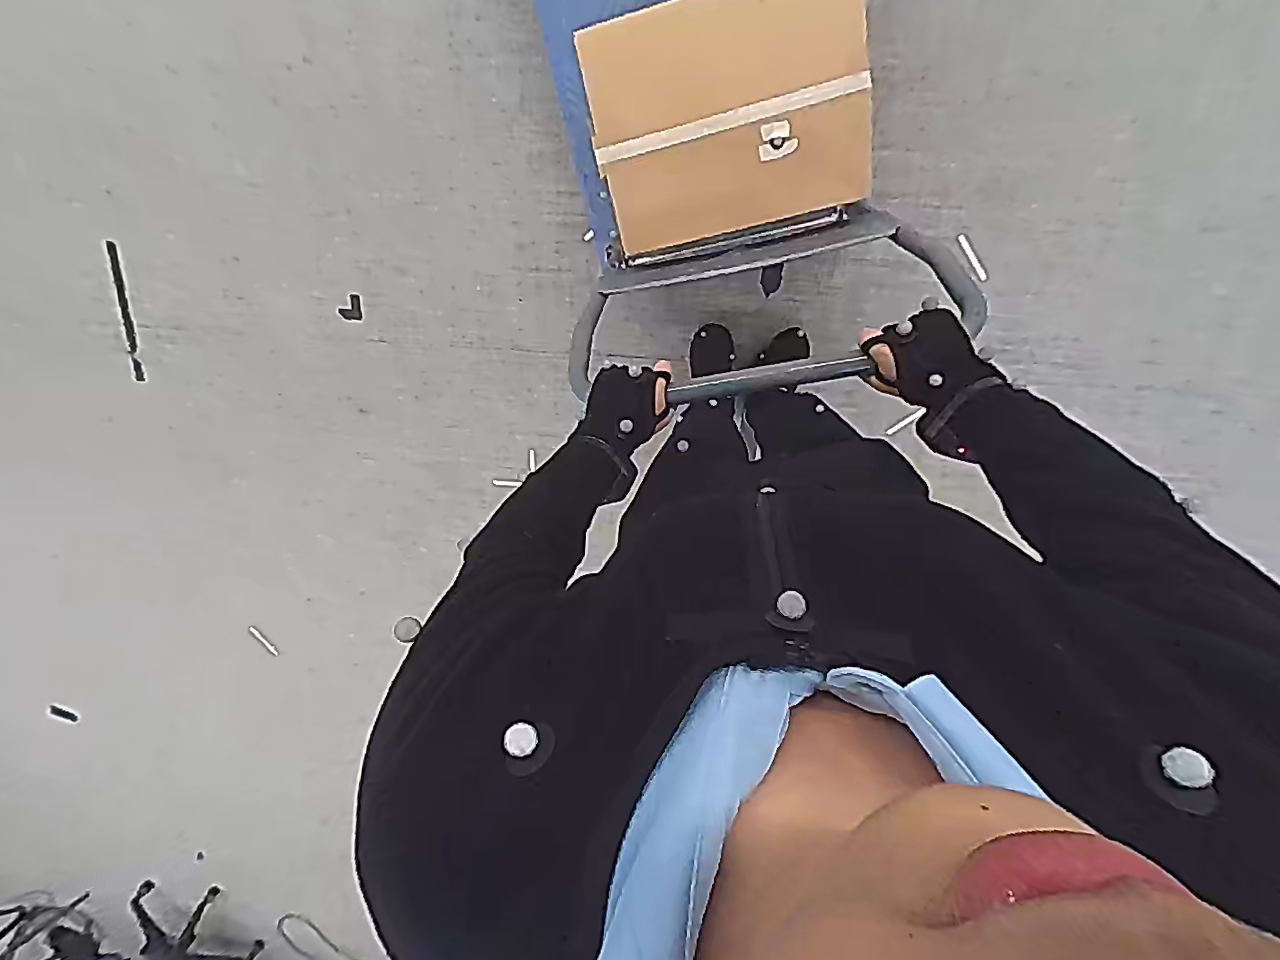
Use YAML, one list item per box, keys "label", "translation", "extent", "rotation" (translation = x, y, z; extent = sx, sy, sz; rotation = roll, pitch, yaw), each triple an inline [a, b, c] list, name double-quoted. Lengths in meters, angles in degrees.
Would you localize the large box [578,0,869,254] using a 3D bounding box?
- label: "large box"
  translation: [0.146, -0.631, 0.954]
  extent: [0.408, 0.320, 0.320]
  rotation: [-10, 121, 11]
